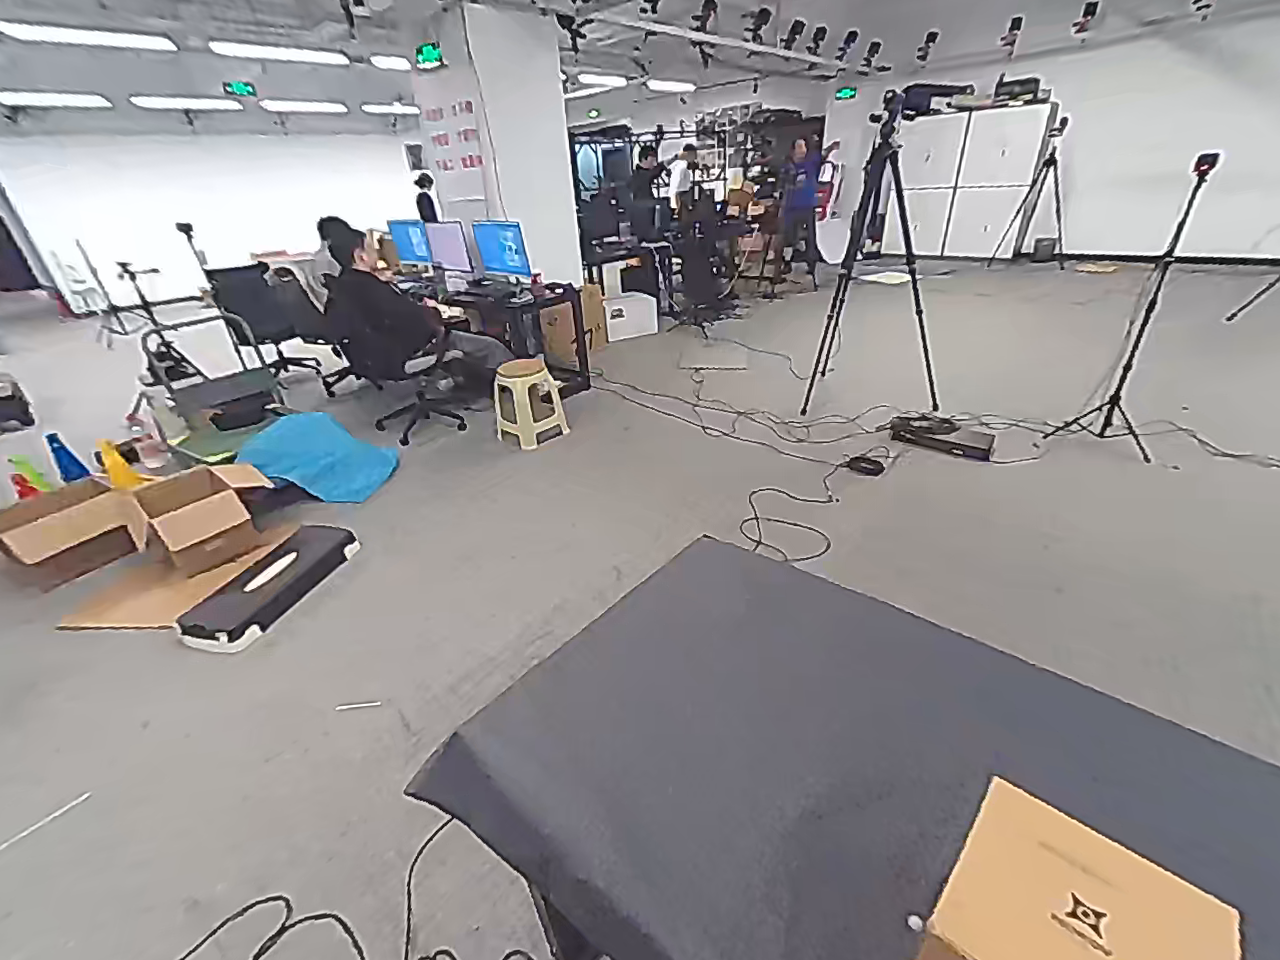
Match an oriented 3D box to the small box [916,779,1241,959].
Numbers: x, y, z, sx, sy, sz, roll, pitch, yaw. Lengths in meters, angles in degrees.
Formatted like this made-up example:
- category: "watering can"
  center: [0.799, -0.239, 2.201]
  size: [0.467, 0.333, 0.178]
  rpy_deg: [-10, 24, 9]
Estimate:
- category: "small box"
  center: [0.331, 0.402, 0.434]
  size: [0.168, 0.176, 0.179]
  rpy_deg: [23, 32, 39]
